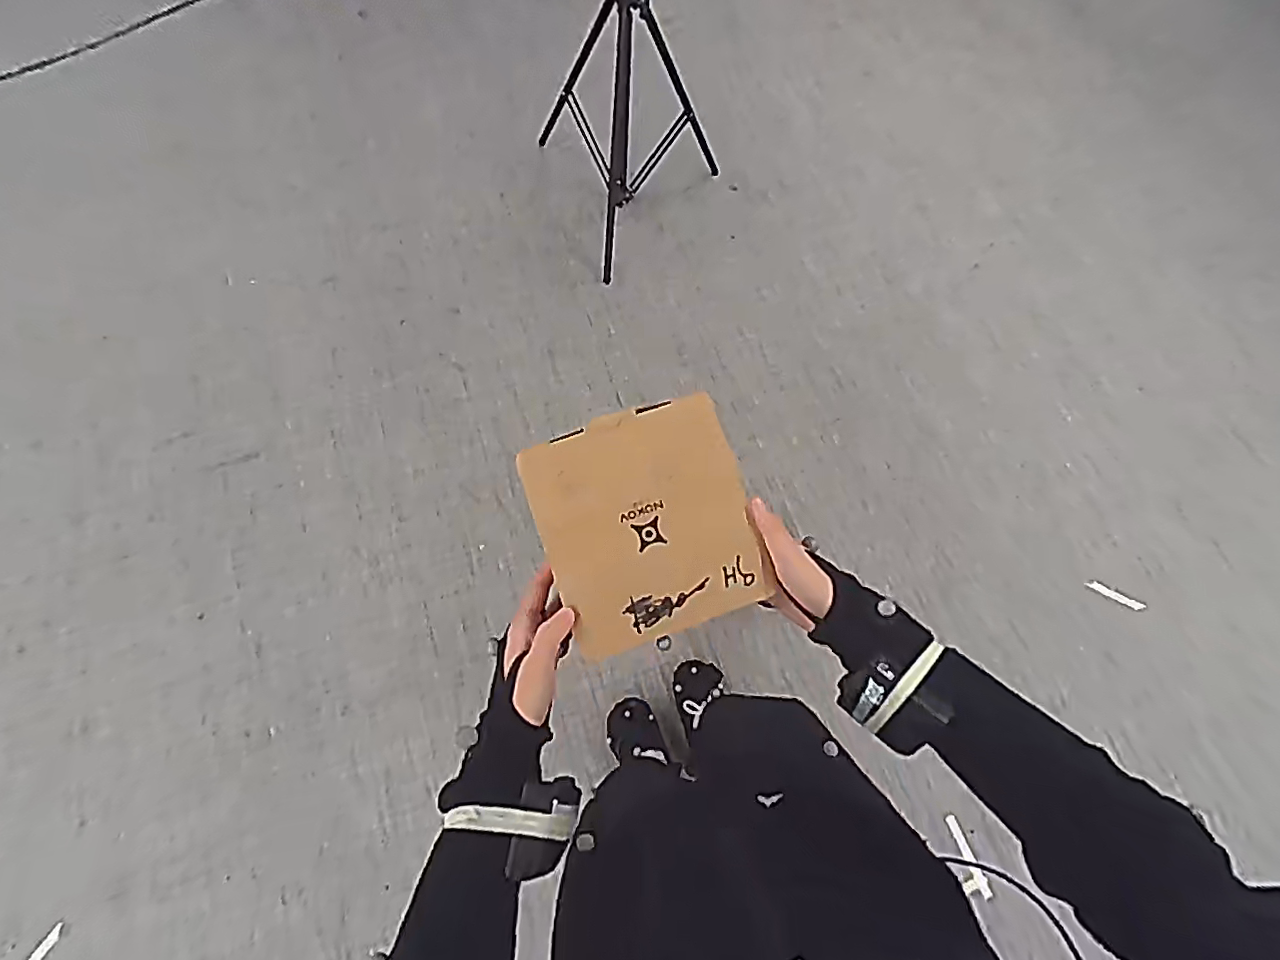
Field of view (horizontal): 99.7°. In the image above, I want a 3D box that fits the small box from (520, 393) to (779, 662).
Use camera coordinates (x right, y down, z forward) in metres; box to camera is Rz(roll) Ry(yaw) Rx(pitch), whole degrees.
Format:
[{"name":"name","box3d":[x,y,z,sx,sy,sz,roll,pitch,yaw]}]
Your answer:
[{"name":"small box","box3d":[0.003,0.044,0.503,0.168,0.176,0.179,-19,85,-4]}]
